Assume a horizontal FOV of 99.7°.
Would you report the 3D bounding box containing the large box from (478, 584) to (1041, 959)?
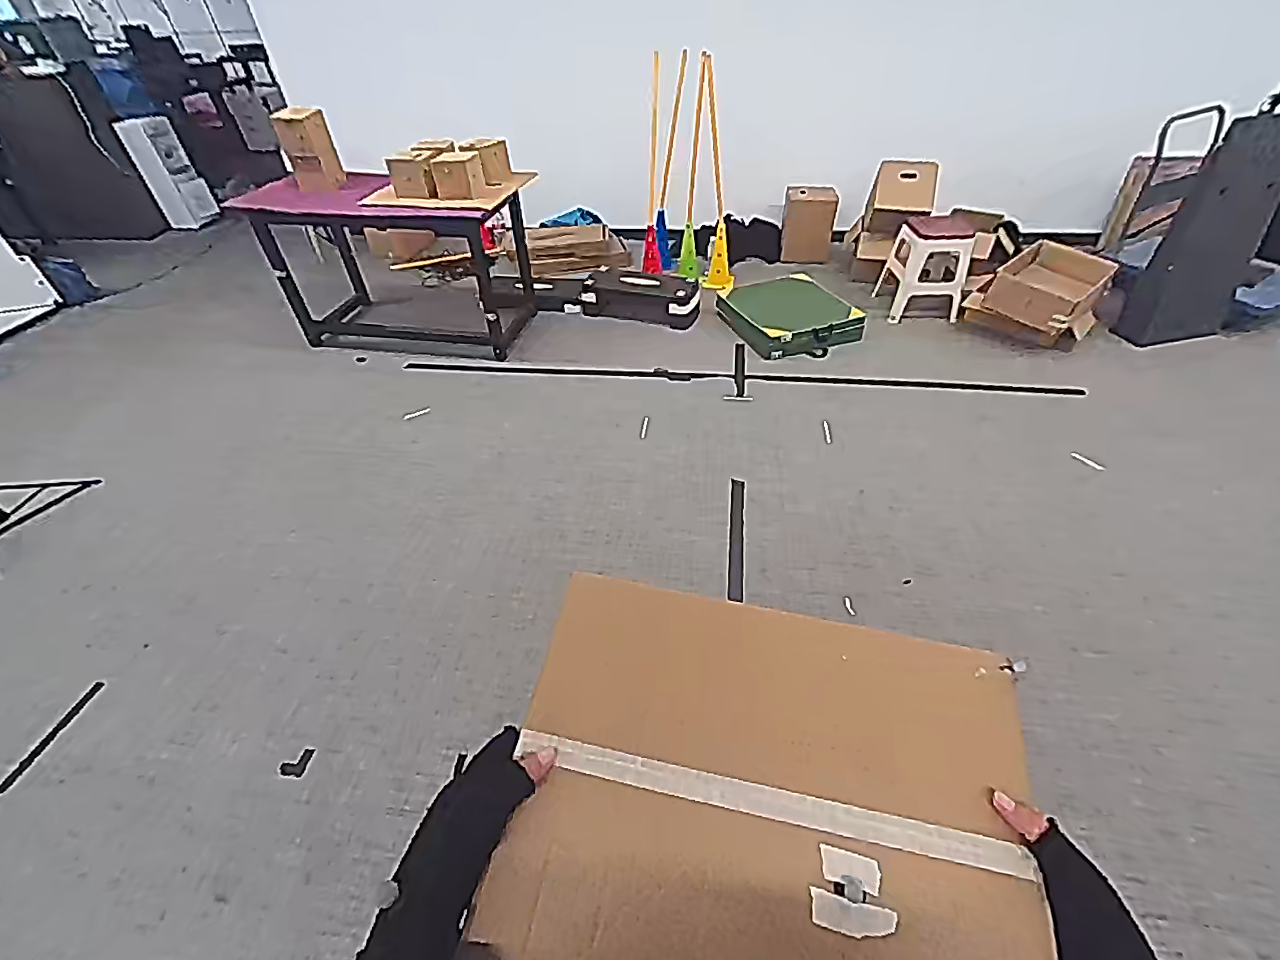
[{"bbox_3d":[0.105,0.337,0.566,0.408,0.320,0.320,9,59,7],"label":"large box"}]
